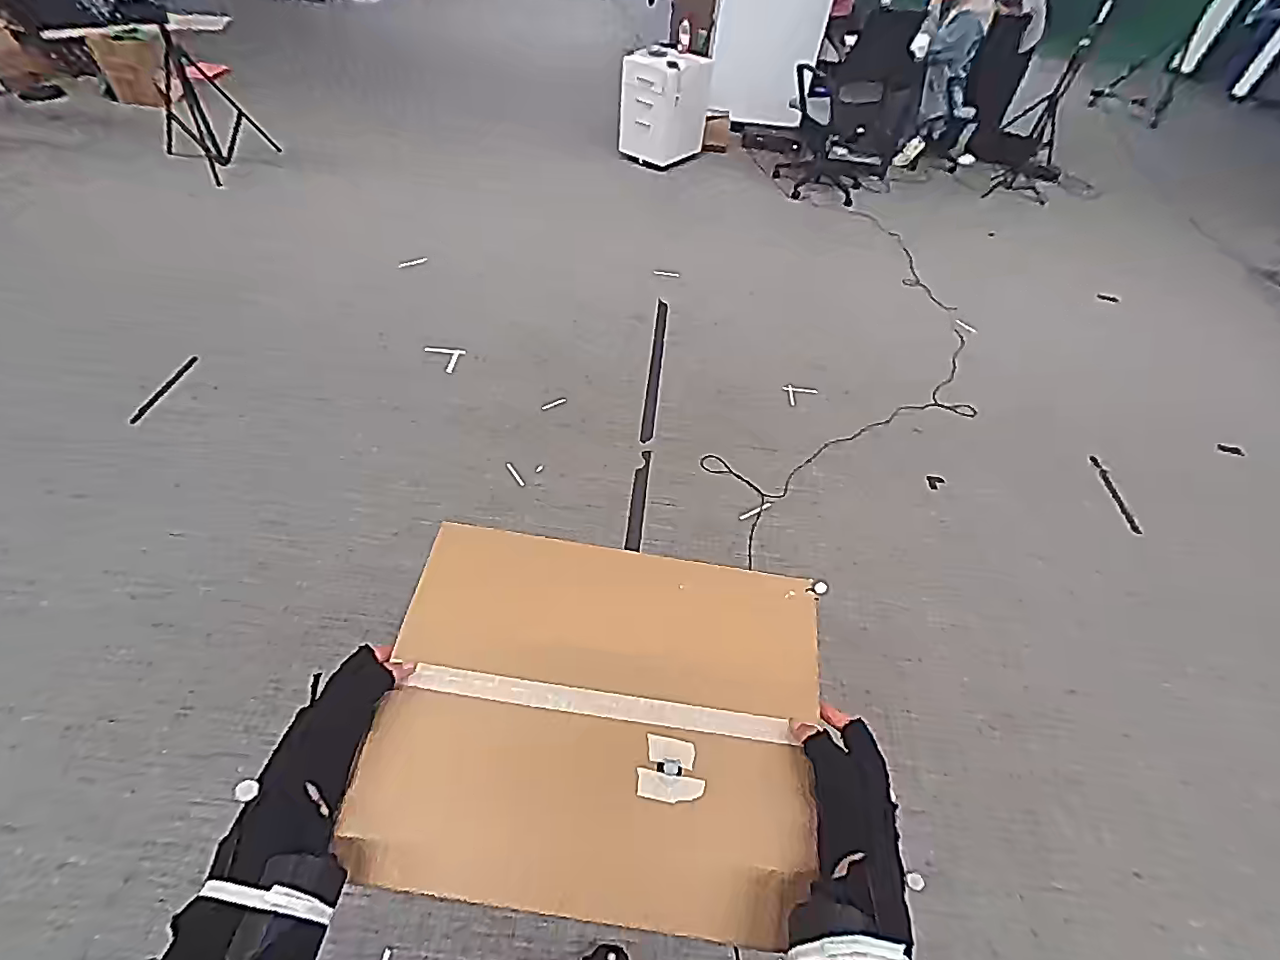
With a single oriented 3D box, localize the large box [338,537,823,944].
[{"bbox_3d":[-0.045,0.295,0.636,0.408,0.320,0.320,9,59,-1],"label":"large box"}]
